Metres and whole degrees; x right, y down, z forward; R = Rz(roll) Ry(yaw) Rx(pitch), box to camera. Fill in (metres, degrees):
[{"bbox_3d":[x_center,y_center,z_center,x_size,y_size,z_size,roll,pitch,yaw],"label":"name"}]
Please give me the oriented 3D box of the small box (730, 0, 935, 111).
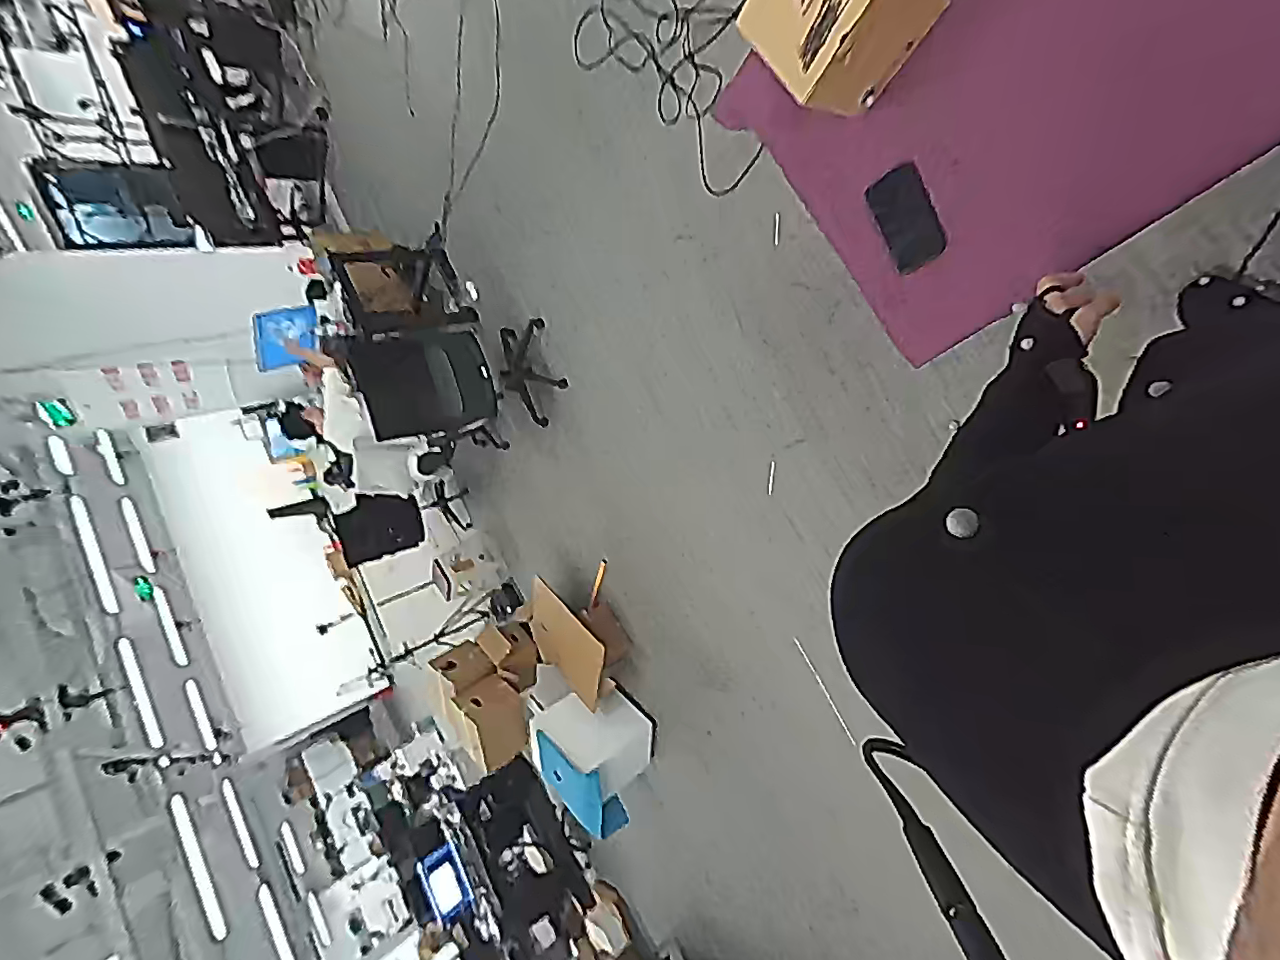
[{"bbox_3d":[0.268,-0.652,0.754,0.179,0.176,0.168,60,141,13],"label":"small box"}]
